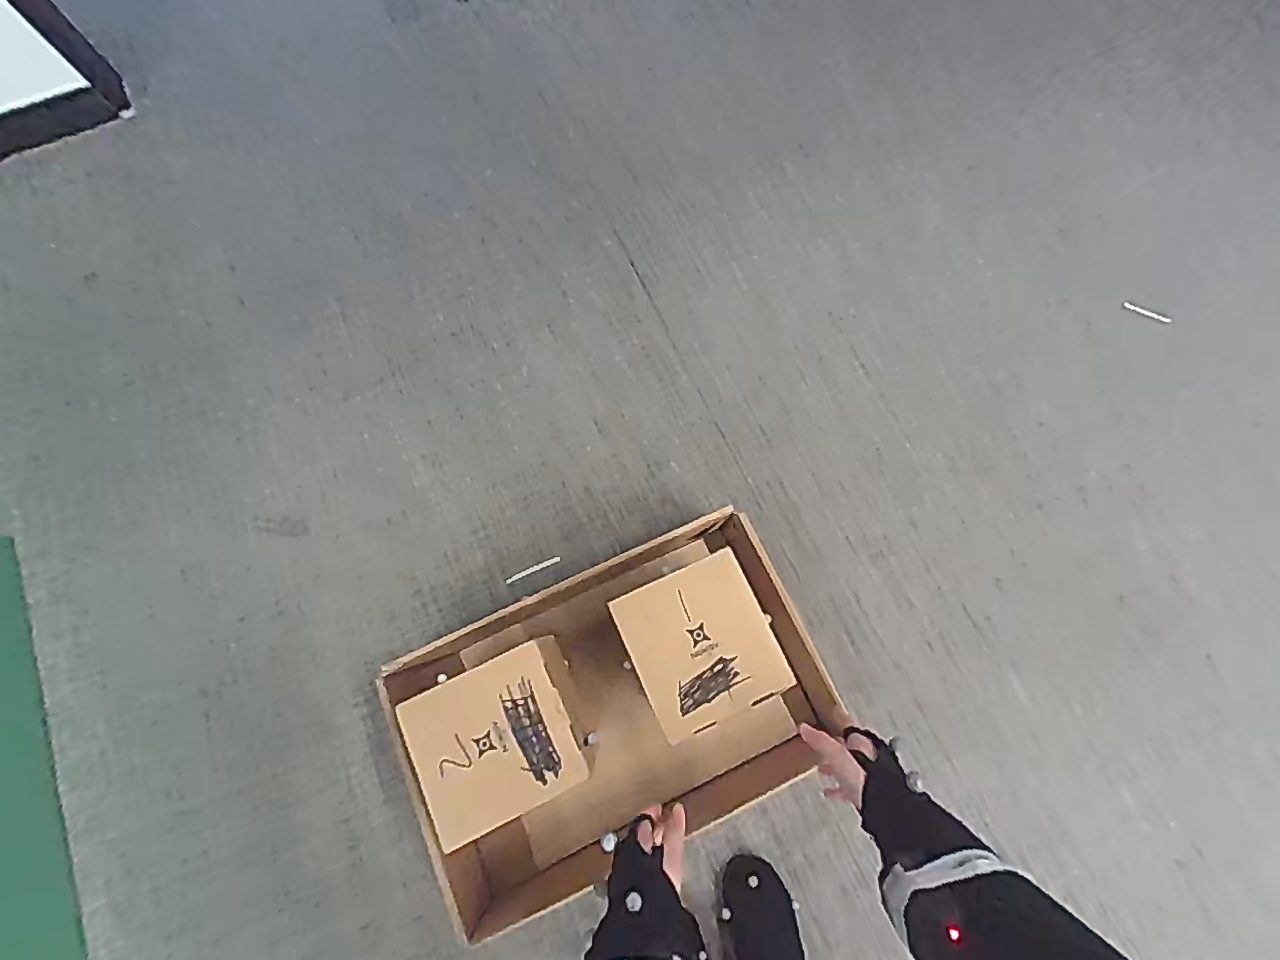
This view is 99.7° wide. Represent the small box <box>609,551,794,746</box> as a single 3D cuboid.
[{"bbox_3d":[0.072,0.211,0.709,0.168,0.176,0.179,-24,77,-6],"label":"small box"}]

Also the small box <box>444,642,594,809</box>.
[{"bbox_3d":[-0.177,0.365,0.840,0.168,0.176,0.179,-20,76,-6],"label":"small box"}]
